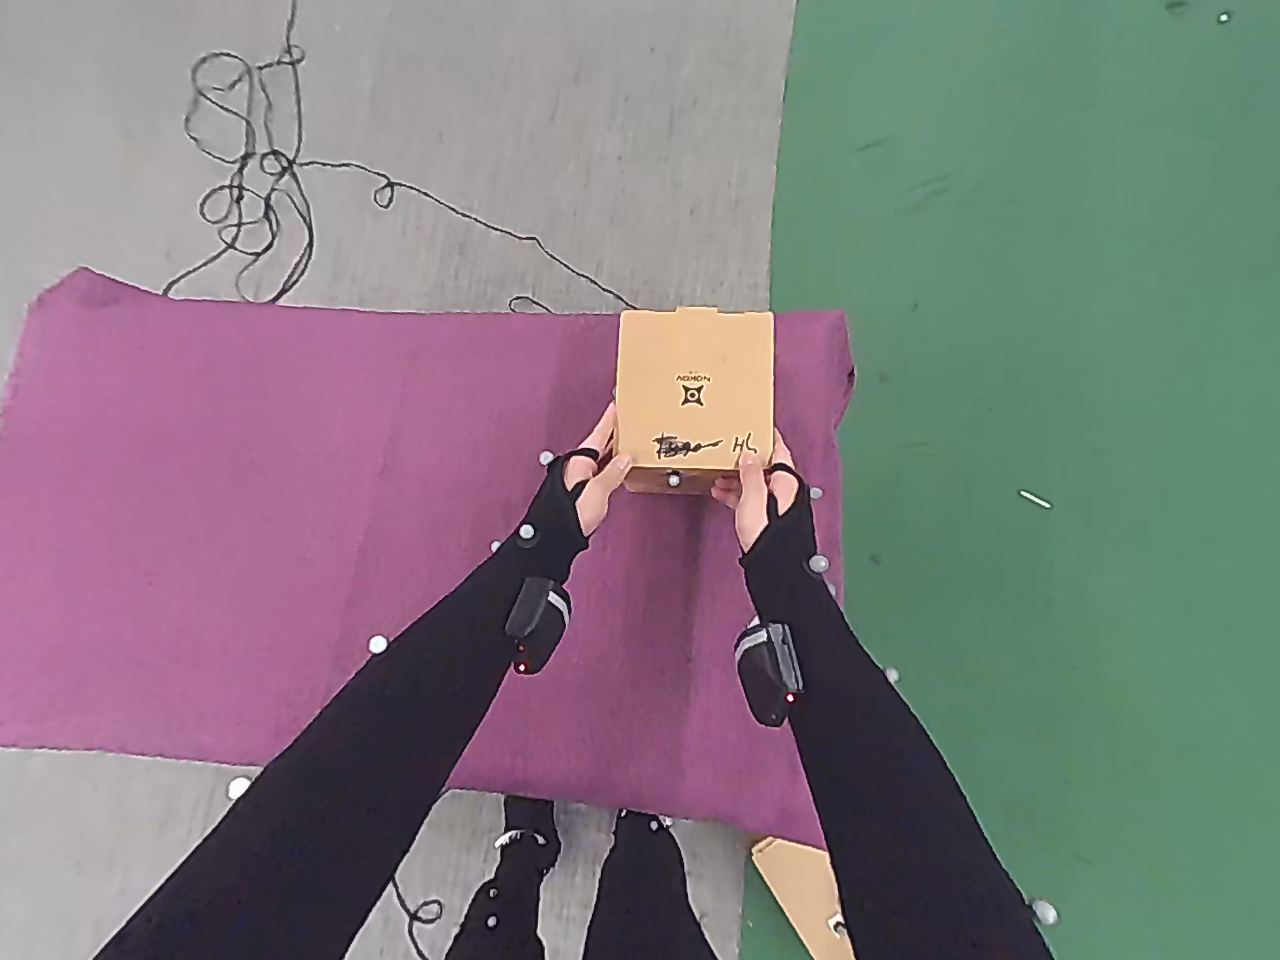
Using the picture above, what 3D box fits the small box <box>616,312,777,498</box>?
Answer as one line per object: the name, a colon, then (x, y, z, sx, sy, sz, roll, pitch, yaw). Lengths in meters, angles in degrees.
small box: (0.066, -0.081, 0.648, 0.168, 0.176, 0.179, 2, 80, 5)
